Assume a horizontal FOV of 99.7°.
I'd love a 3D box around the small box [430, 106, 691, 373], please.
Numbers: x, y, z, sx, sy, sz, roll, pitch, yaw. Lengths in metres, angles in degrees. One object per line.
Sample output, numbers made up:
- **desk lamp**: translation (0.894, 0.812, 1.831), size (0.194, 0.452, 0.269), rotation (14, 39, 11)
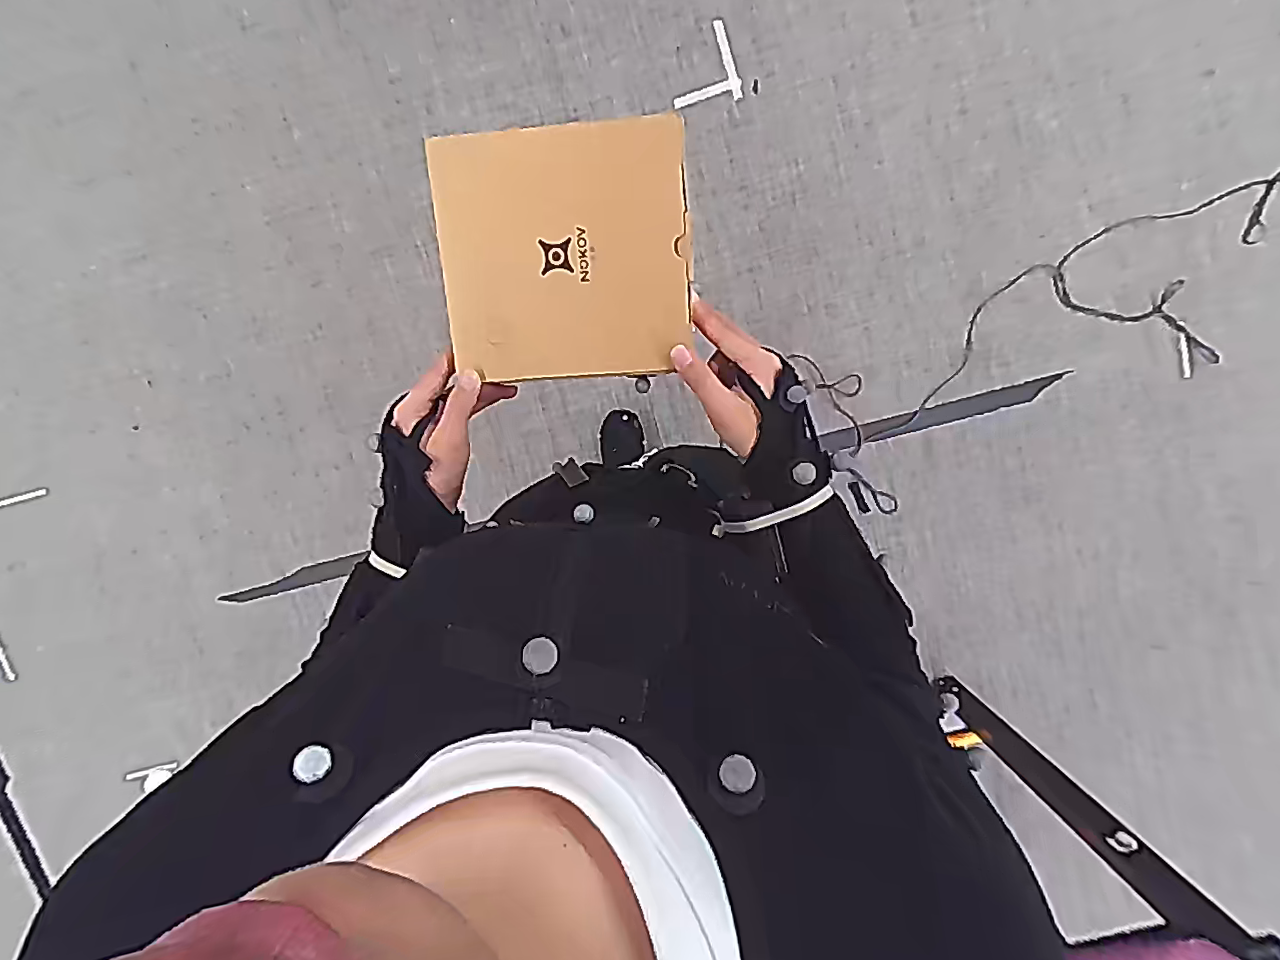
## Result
- **small box**: translation (-0.048, -0.177, 0.452), size (0.179, 0.176, 0.168), rotation (-3, 101, 3)
